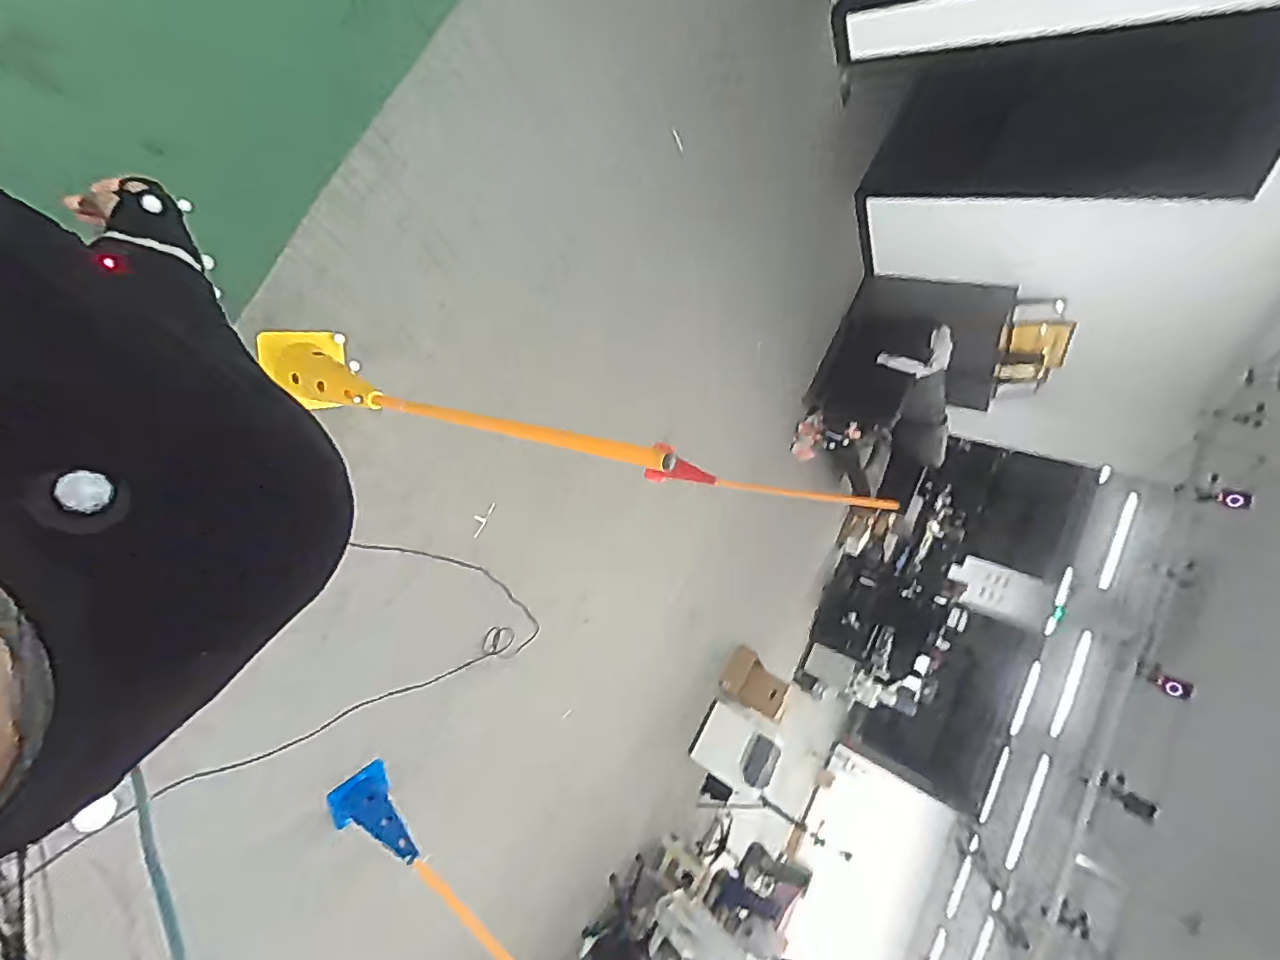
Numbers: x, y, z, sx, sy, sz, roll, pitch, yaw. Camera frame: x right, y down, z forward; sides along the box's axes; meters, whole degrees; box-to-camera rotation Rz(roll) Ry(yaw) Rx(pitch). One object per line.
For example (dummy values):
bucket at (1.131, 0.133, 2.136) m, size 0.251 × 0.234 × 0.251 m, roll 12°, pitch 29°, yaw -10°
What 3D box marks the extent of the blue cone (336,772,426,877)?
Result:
blue cone at (-0.852, 1.212, 1.860) m, size 0.192 × 0.380 × 0.193 m, roll -30°, pitch 132°, yaw -45°
